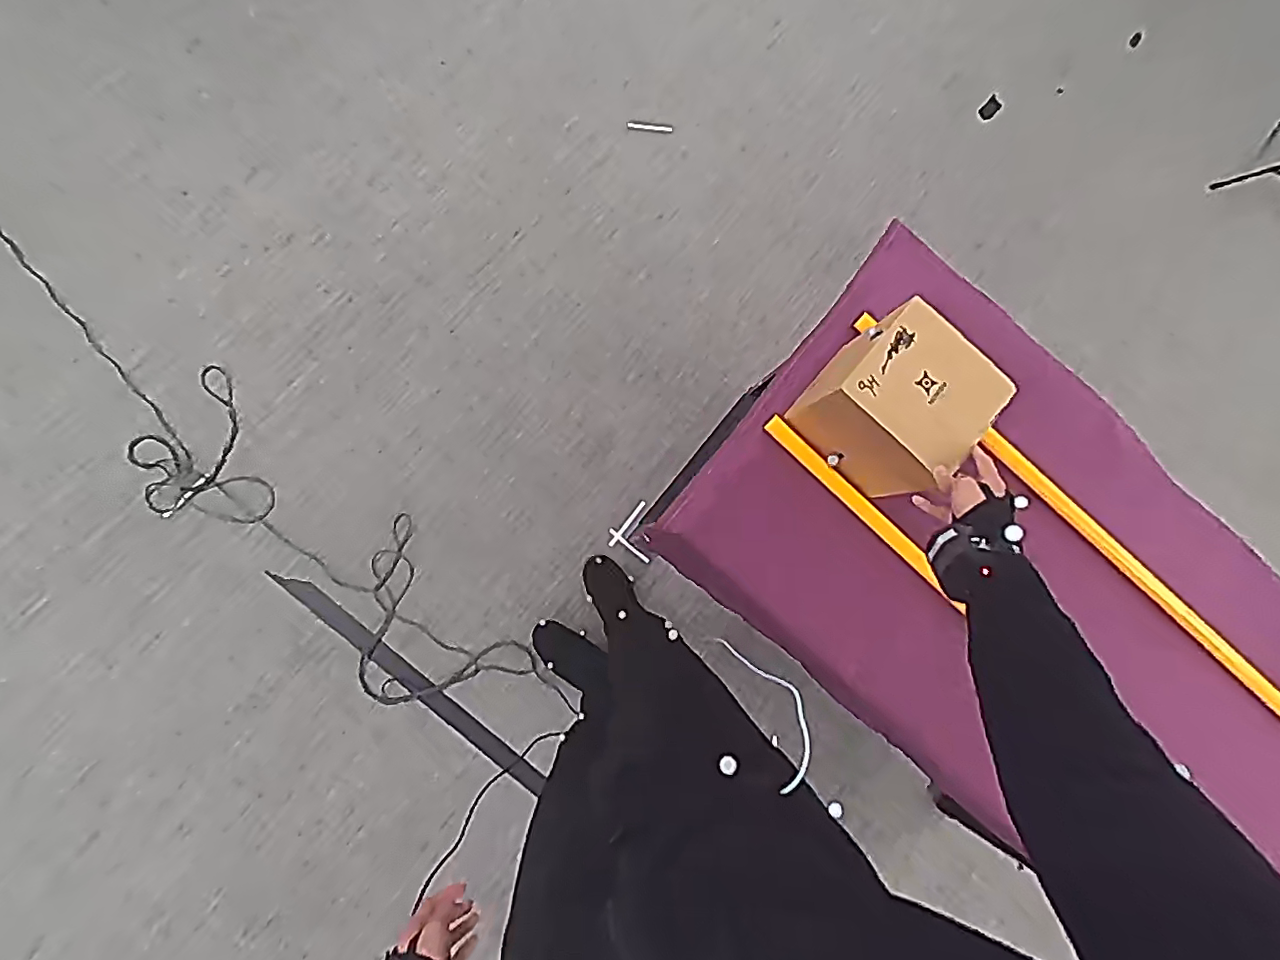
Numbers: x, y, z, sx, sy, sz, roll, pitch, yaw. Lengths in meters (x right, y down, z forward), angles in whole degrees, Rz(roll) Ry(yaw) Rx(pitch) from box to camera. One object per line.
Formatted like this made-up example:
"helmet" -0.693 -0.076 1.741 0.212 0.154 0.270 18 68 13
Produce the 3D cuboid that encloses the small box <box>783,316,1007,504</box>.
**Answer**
"small box" 0.332 -0.081 0.736 0.179 0.176 0.168 43 79 -2
